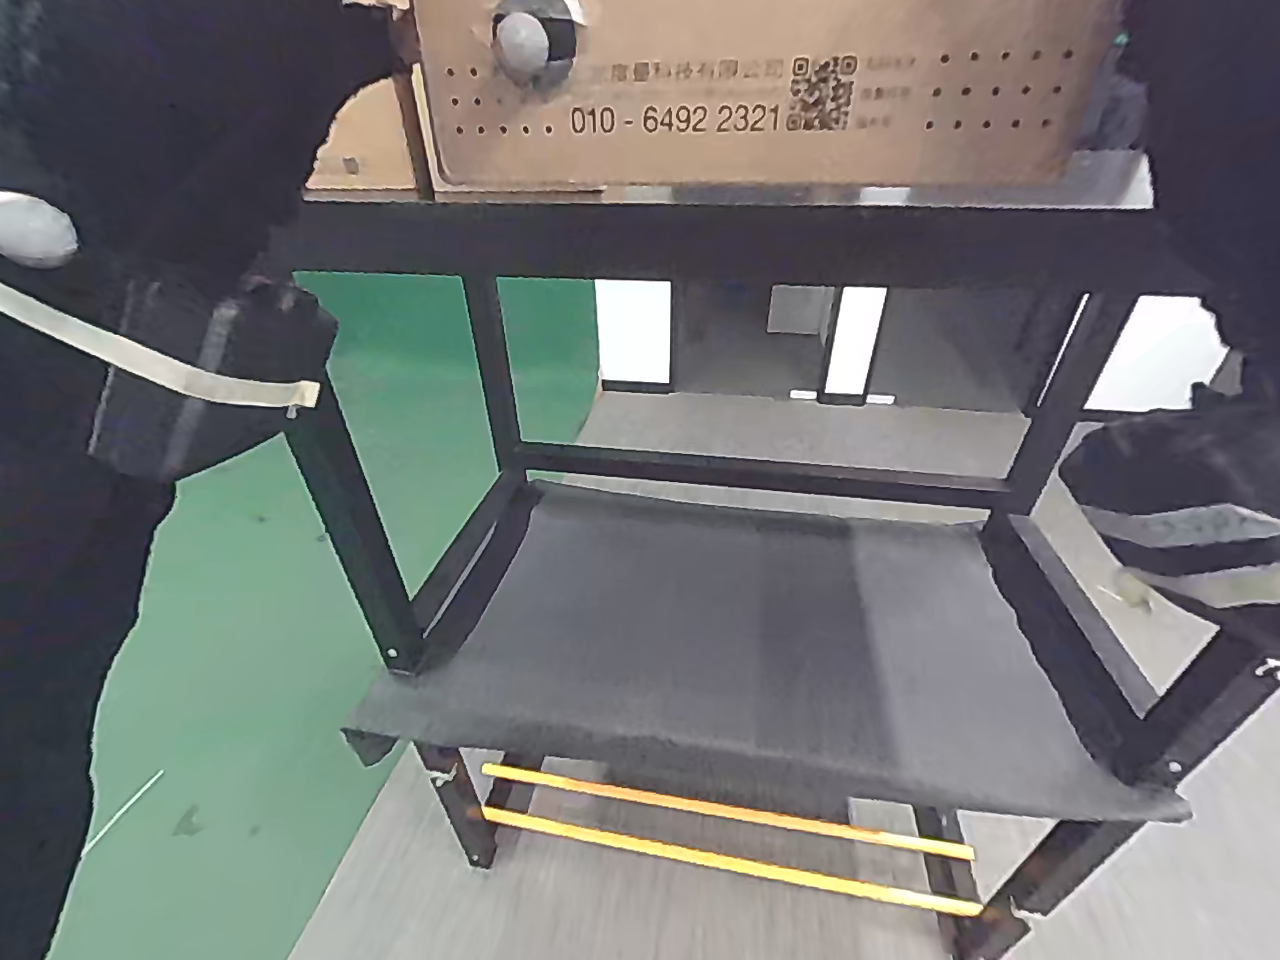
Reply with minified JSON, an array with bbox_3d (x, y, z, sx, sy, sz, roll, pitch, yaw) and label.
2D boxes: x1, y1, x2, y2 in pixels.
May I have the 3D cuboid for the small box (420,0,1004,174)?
[{"bbox_3d":[0.027,-0.207,0.190,0.168,0.176,0.179,5,31,8],"label":"small box"}]

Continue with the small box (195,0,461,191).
[{"bbox_3d":[-0.307,-0.412,0.582,0.168,0.176,0.179,2,33,3],"label":"small box"}]
